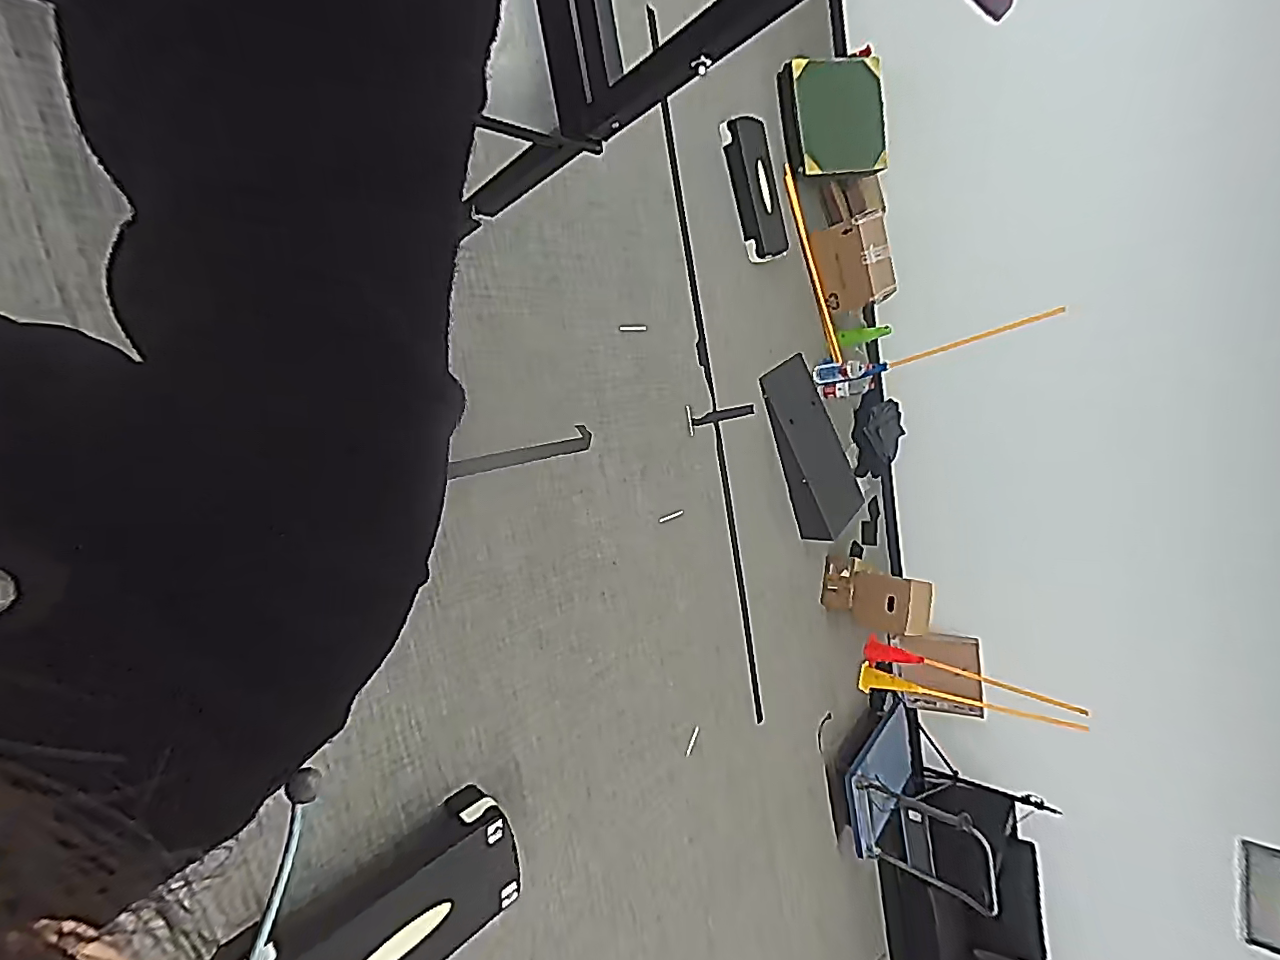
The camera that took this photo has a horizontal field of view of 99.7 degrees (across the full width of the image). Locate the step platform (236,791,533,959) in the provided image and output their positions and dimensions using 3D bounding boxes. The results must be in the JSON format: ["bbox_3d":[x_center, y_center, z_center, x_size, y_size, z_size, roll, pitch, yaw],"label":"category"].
[{"bbox_3d":[-0.603,1.120,1.390,0.684,0.204,0.286,-10,95,-46],"label":"step platform"}]
